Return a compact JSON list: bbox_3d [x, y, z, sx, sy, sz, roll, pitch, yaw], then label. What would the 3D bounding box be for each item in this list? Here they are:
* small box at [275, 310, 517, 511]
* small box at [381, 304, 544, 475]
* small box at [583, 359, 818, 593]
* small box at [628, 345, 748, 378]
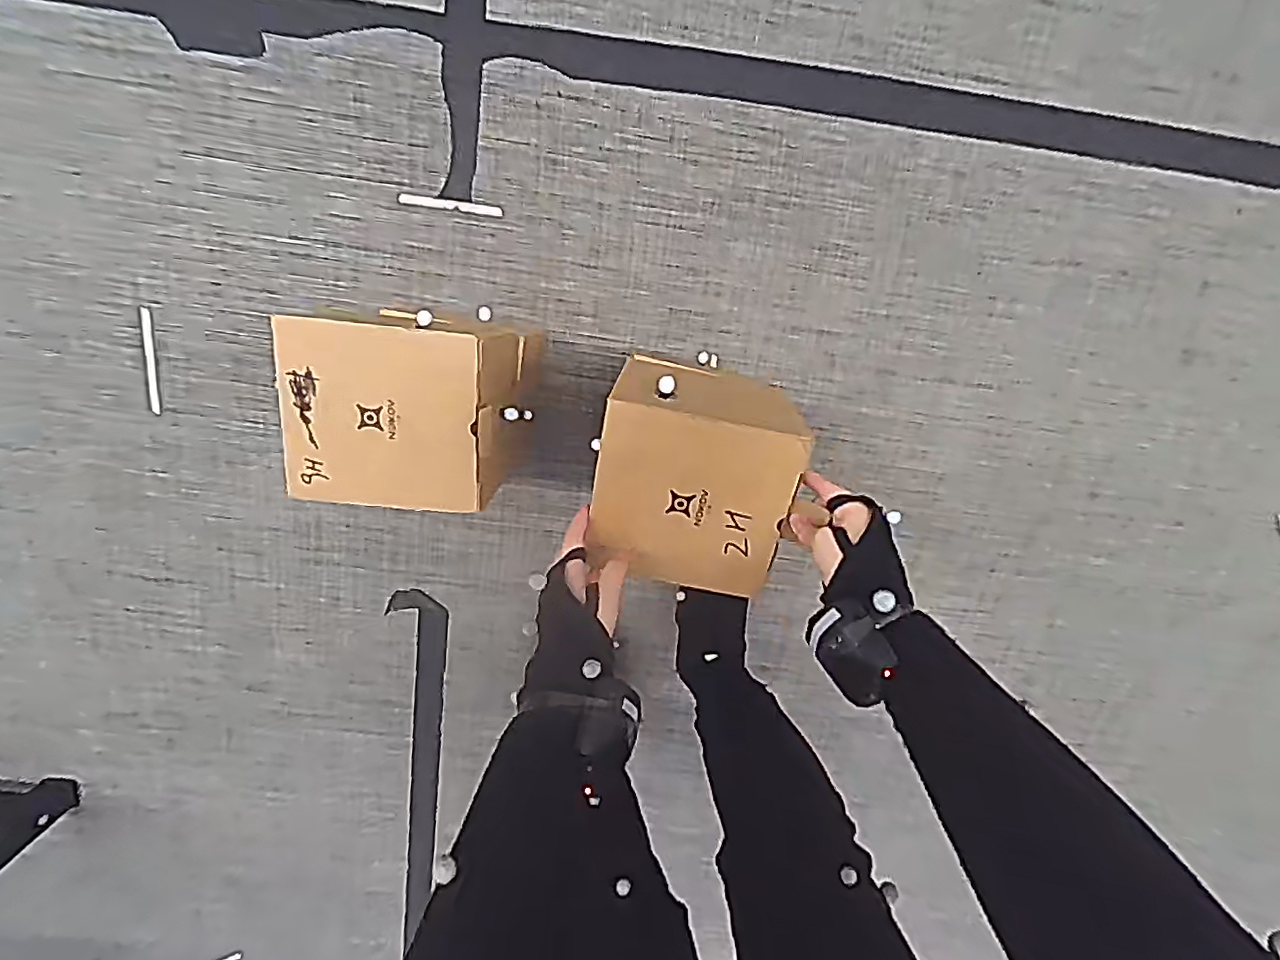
[{"bbox_3d":[-0.226,-0.079,0.549,0.179,0.176,0.168,5,106,-4],"label":"small box"},{"bbox_3d":[-0.225,-0.124,0.707,0.168,0.176,0.179,10,106,-5],"label":"small box"},{"bbox_3d":[0.052,-0.016,0.544,0.179,0.176,0.168,11,115,-1],"label":"small box"},{"bbox_3d":[0.052,-0.076,0.731,0.168,0.176,0.179,13,106,-6],"label":"small box"}]
